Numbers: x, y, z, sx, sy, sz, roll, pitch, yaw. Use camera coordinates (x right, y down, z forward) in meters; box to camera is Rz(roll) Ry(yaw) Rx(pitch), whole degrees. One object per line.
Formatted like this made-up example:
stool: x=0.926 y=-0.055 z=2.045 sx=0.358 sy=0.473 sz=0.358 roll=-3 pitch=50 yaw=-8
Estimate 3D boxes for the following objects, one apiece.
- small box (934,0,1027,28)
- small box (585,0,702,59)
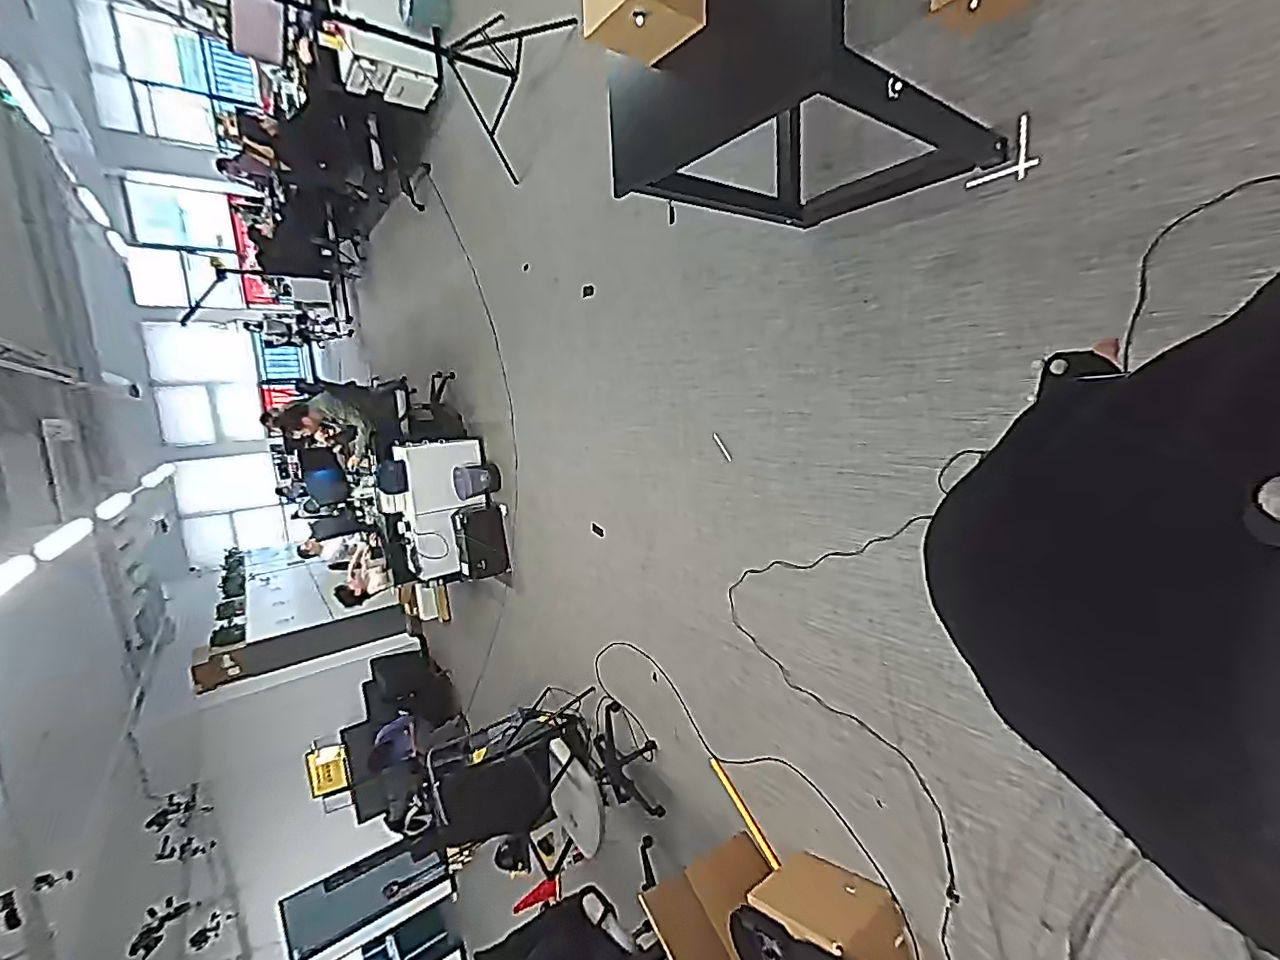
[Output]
small box: x=0.770 y=-1.140 z=1.177 sx=0.179 sy=0.176 sz=0.168 roll=8 pitch=106 yaw=52
small box: x=0.010 y=-0.947 z=1.022 sx=0.179 sy=0.176 sz=0.168 roll=15 pitch=110 yaw=52
